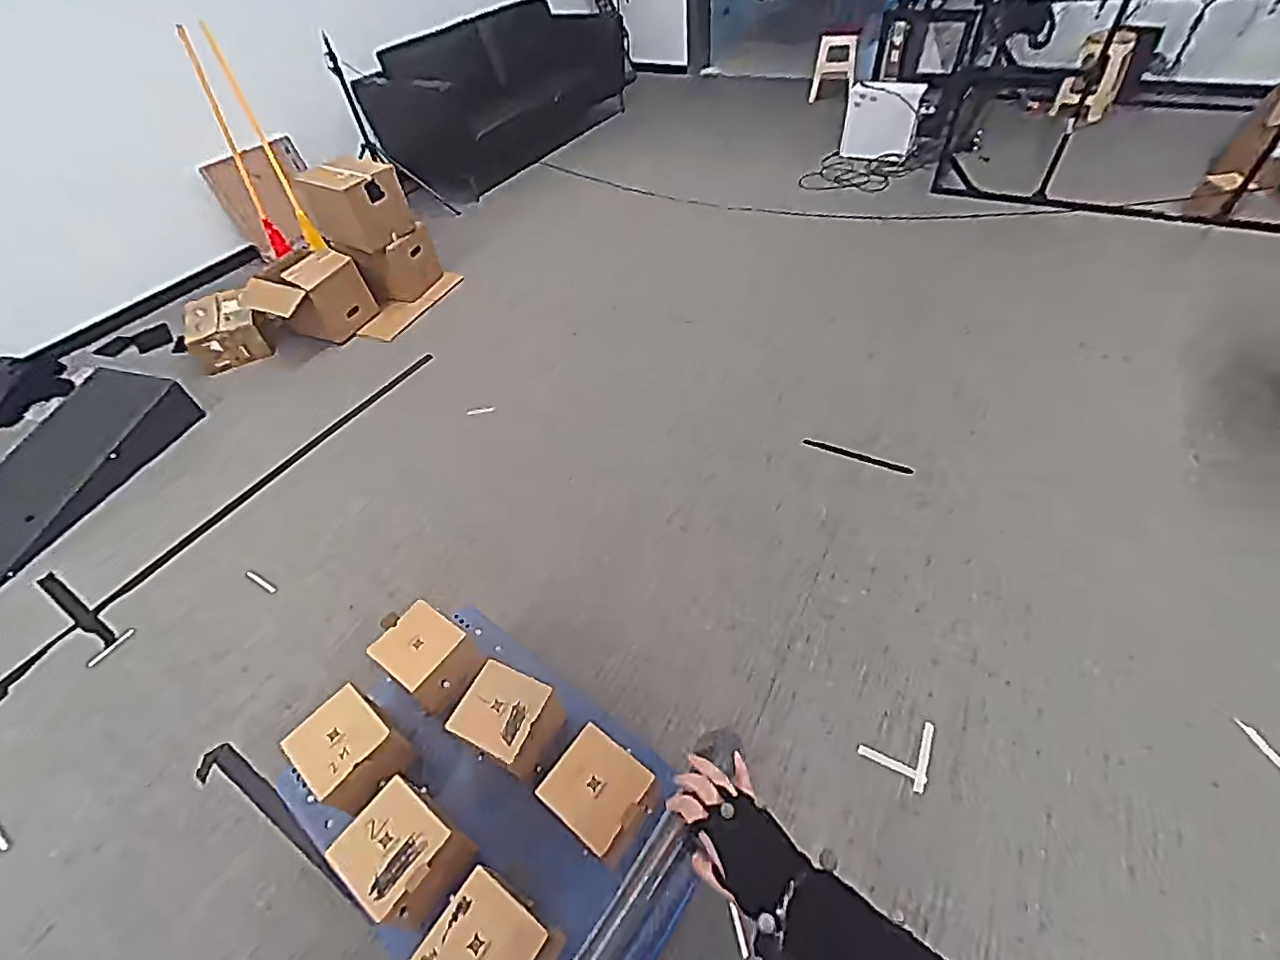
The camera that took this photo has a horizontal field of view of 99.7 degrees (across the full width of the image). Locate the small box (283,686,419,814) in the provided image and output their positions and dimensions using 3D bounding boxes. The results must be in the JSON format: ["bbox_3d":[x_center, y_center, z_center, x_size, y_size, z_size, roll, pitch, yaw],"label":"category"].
[{"bbox_3d":[-0.625,0.596,1.186,0.179,0.176,0.168,30,58,26],"label":"small box"}]

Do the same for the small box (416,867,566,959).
[{"bbox_3d":[-0.250,0.825,0.948,0.179,0.176,0.168,25,54,24],"label":"small box"}]

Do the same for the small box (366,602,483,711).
[{"bbox_3d":[-0.515,0.436,1.318,0.179,0.176,0.168,25,55,24],"label":"small box"}]

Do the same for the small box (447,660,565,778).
[{"bbox_3d":[-0.288,0.538,1.206,0.179,0.176,0.168,16,52,20],"label":"small box"}]

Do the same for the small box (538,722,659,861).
[{"bbox_3d":[-0.074,0.637,1.100,0.179,0.176,0.168,28,56,27],"label":"small box"}]
